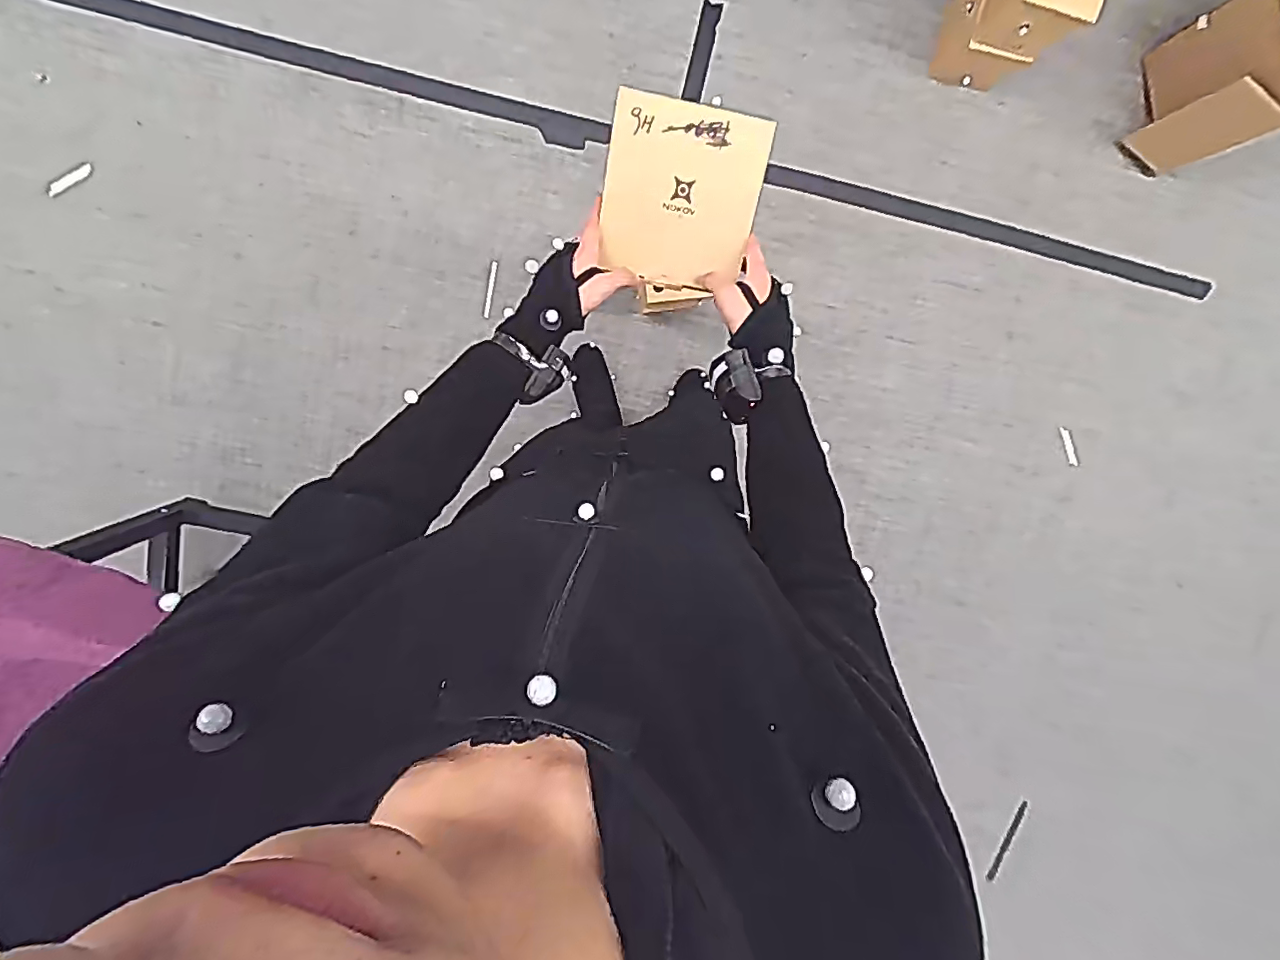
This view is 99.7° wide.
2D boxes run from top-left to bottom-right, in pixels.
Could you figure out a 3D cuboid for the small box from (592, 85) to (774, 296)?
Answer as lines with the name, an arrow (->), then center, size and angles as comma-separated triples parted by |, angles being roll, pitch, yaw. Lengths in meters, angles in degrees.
small box -> 0.044, -0.336, 0.652 | 0.168, 0.176, 0.179 | 11, 114, -4
